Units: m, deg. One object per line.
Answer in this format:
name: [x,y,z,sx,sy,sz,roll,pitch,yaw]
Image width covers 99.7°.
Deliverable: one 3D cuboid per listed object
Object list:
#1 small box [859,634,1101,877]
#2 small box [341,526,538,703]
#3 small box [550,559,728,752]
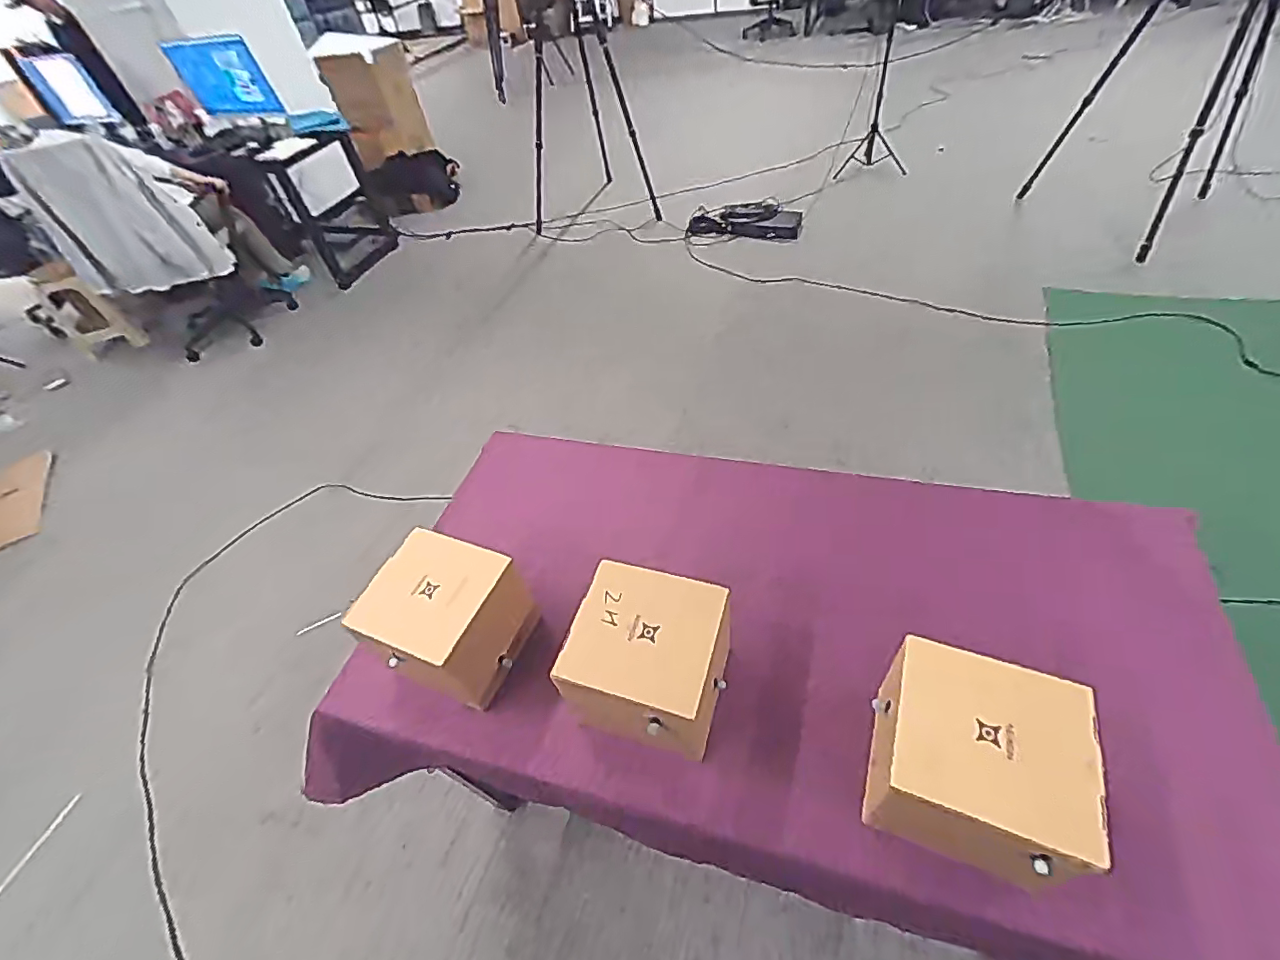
small box: [0.351,0.300,0.589,0.179,0.176,0.168,14,53,20]
small box: [-0.276,0.197,0.785,0.179,0.176,0.168,14,53,20]
small box: [0.012,0.232,0.705,0.179,0.176,0.168,10,51,18]
